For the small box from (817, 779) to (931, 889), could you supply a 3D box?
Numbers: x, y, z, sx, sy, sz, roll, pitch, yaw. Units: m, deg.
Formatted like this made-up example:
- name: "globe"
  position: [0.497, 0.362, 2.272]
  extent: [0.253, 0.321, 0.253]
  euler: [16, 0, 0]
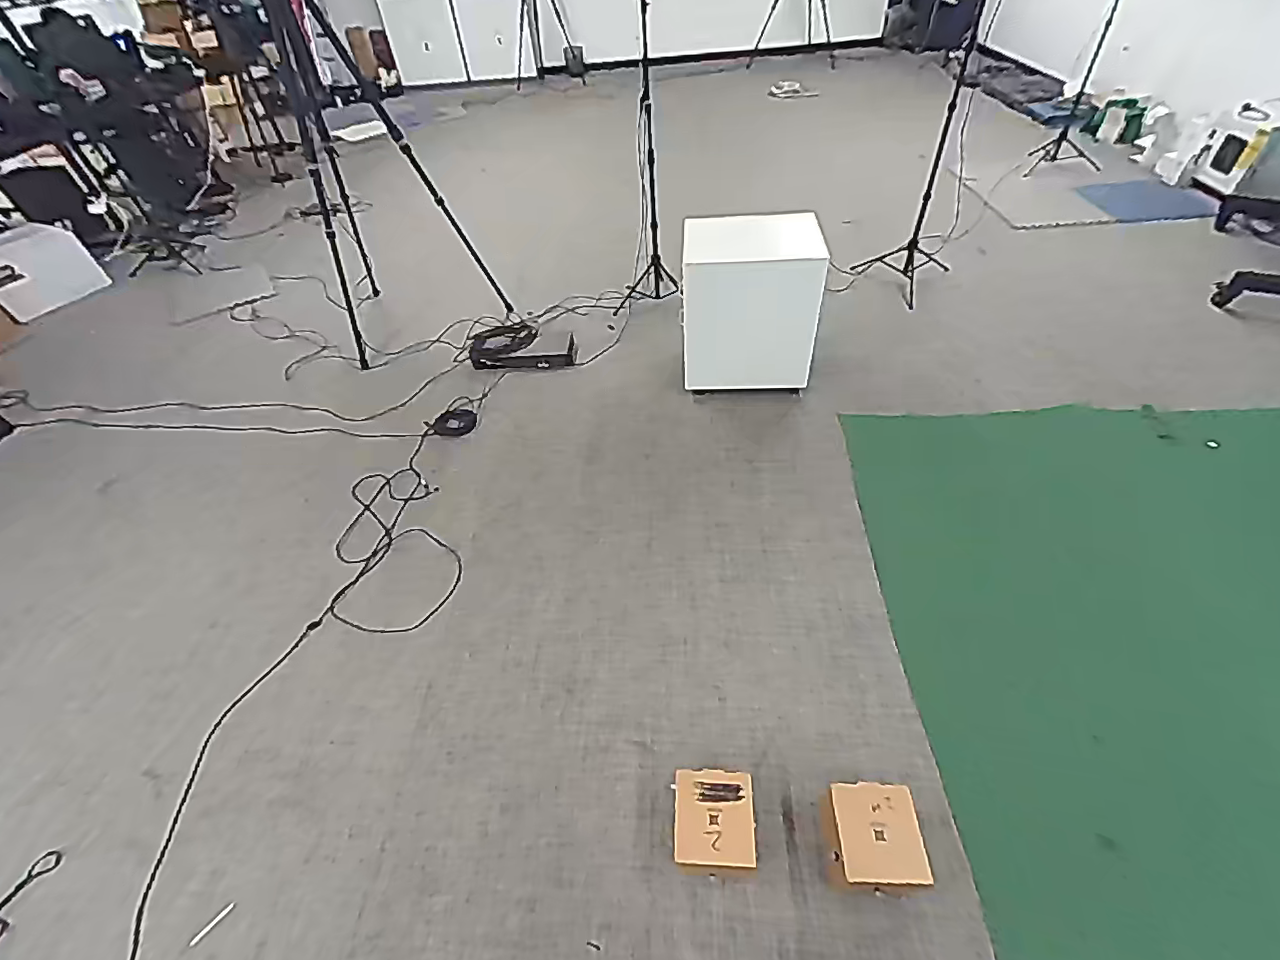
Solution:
- name: "small box"
  position: [0.488, 0.758, 1.155]
  extent: [0.168, 0.176, 0.179]
  euler: [0, 47, 4]
